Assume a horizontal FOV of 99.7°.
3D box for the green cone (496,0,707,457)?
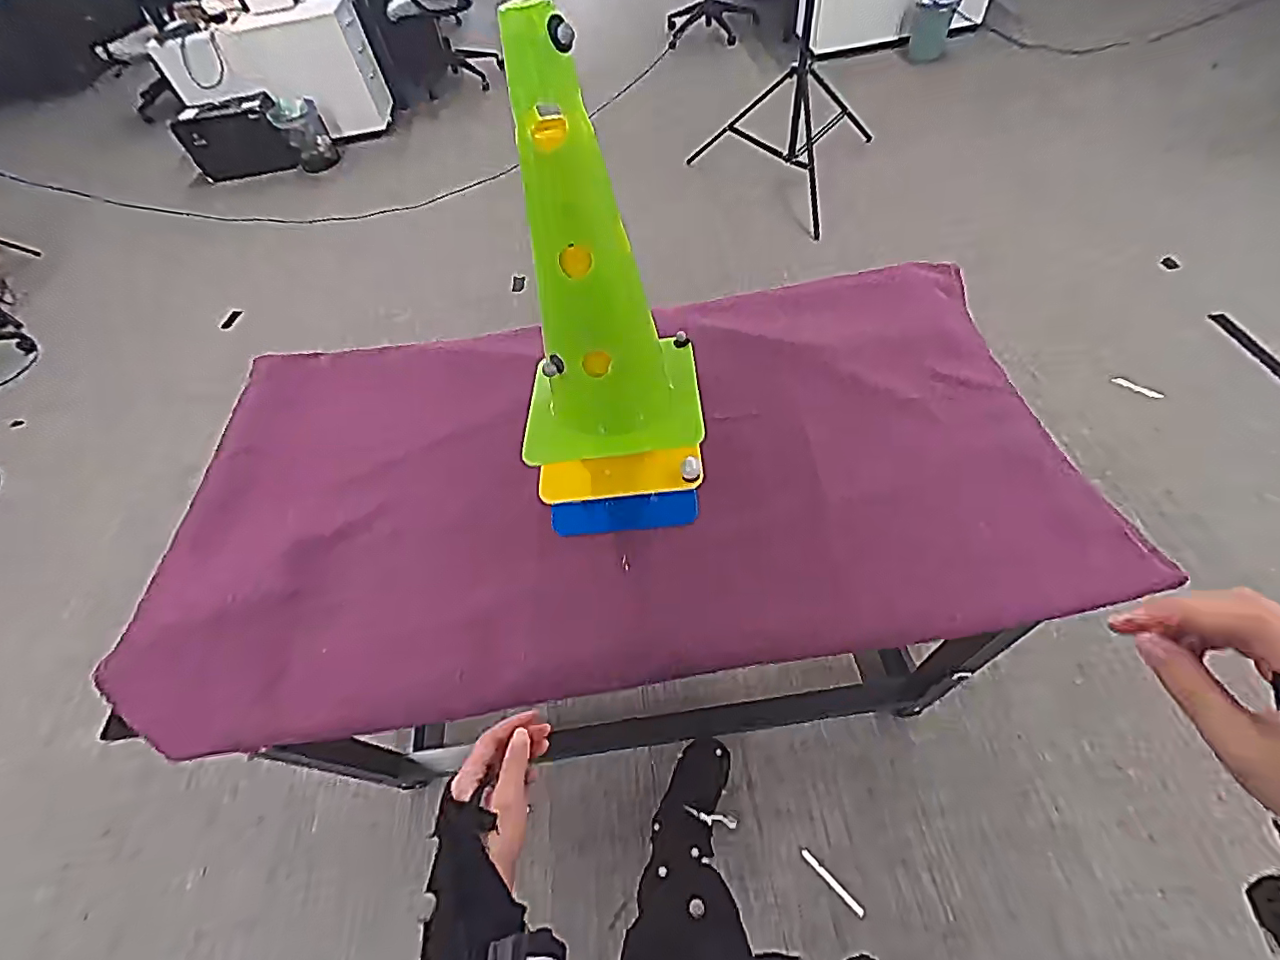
[{"bbox_3d":[-0.057,-0.219,0.504,0.200,0.368,0.202,-7,48,5],"label":"green cone"}]
